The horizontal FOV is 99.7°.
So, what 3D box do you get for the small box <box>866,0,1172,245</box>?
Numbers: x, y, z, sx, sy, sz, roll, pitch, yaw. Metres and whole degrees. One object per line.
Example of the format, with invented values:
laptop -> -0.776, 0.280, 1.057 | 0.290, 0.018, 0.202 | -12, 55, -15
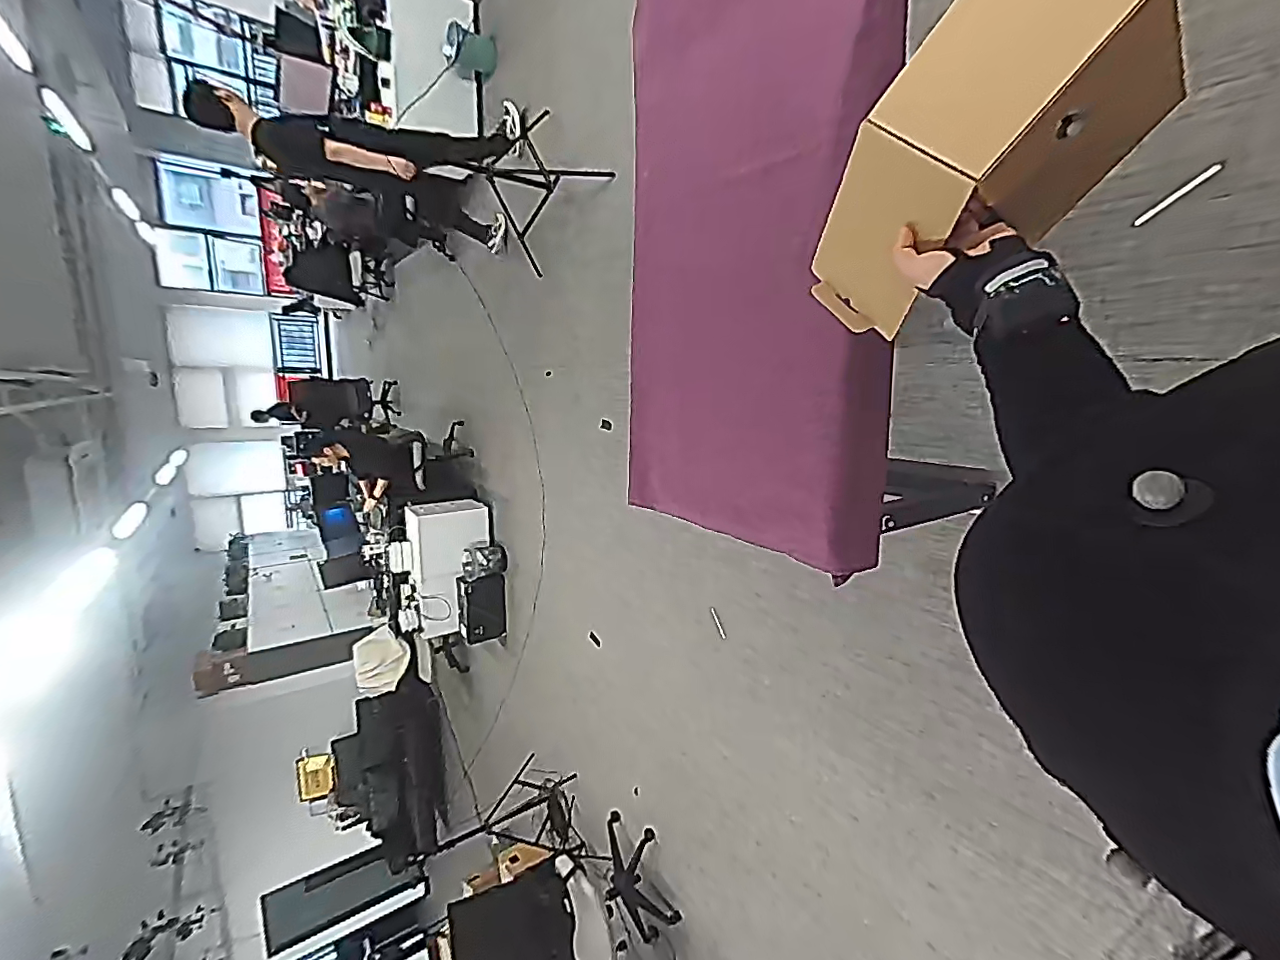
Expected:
small box -> 0.378, -0.375, 0.546 | 0.179, 0.176, 0.168 | -51, 49, 29
